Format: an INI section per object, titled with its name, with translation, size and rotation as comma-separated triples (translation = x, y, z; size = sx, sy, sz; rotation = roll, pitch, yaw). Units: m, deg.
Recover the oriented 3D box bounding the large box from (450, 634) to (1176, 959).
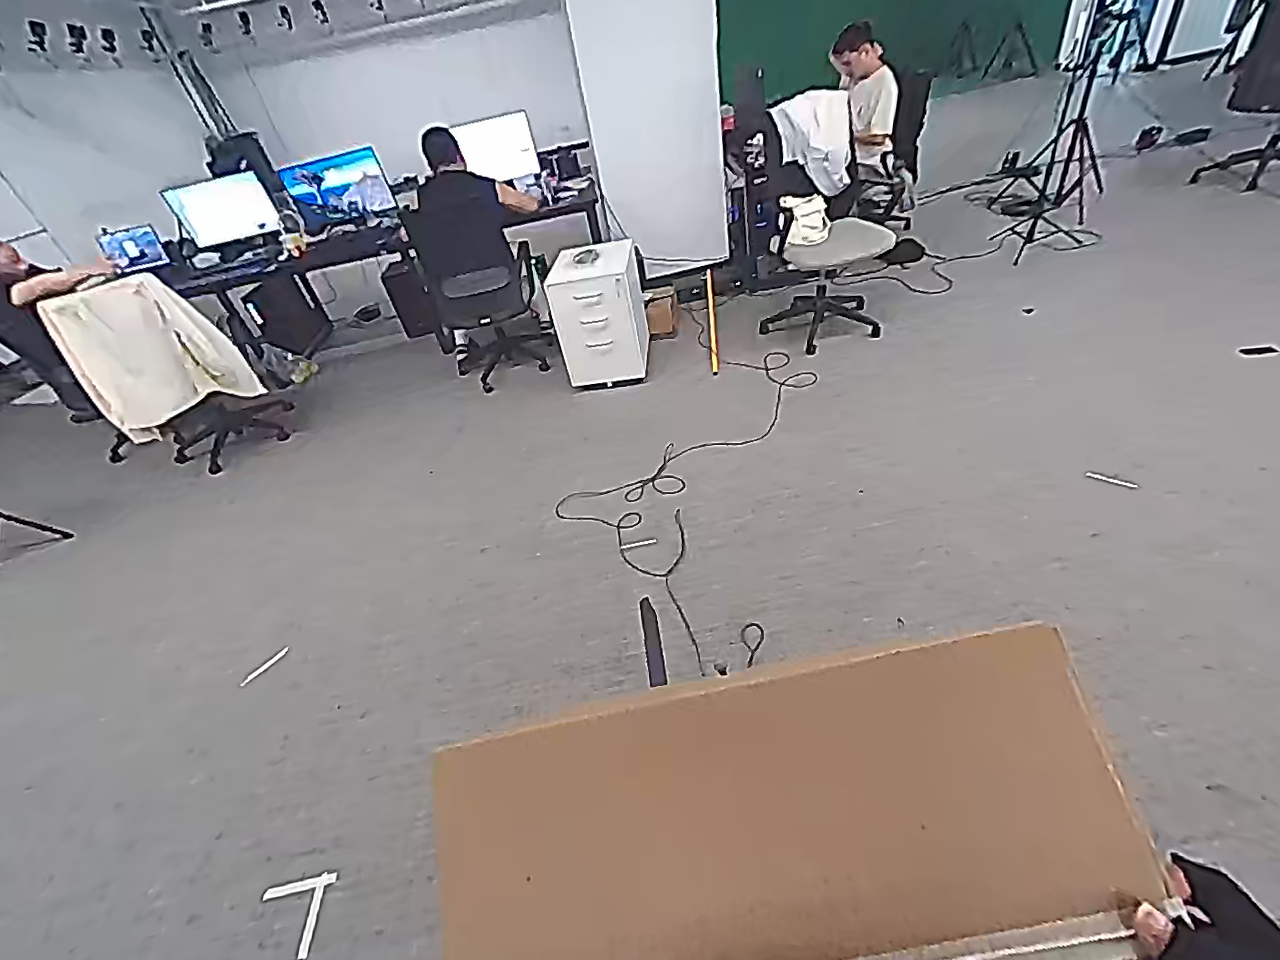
[large box]
translation = 0.114, 0.331, 0.449
size = 0.408, 0.320, 0.320
rotation = -14, 71, 3
